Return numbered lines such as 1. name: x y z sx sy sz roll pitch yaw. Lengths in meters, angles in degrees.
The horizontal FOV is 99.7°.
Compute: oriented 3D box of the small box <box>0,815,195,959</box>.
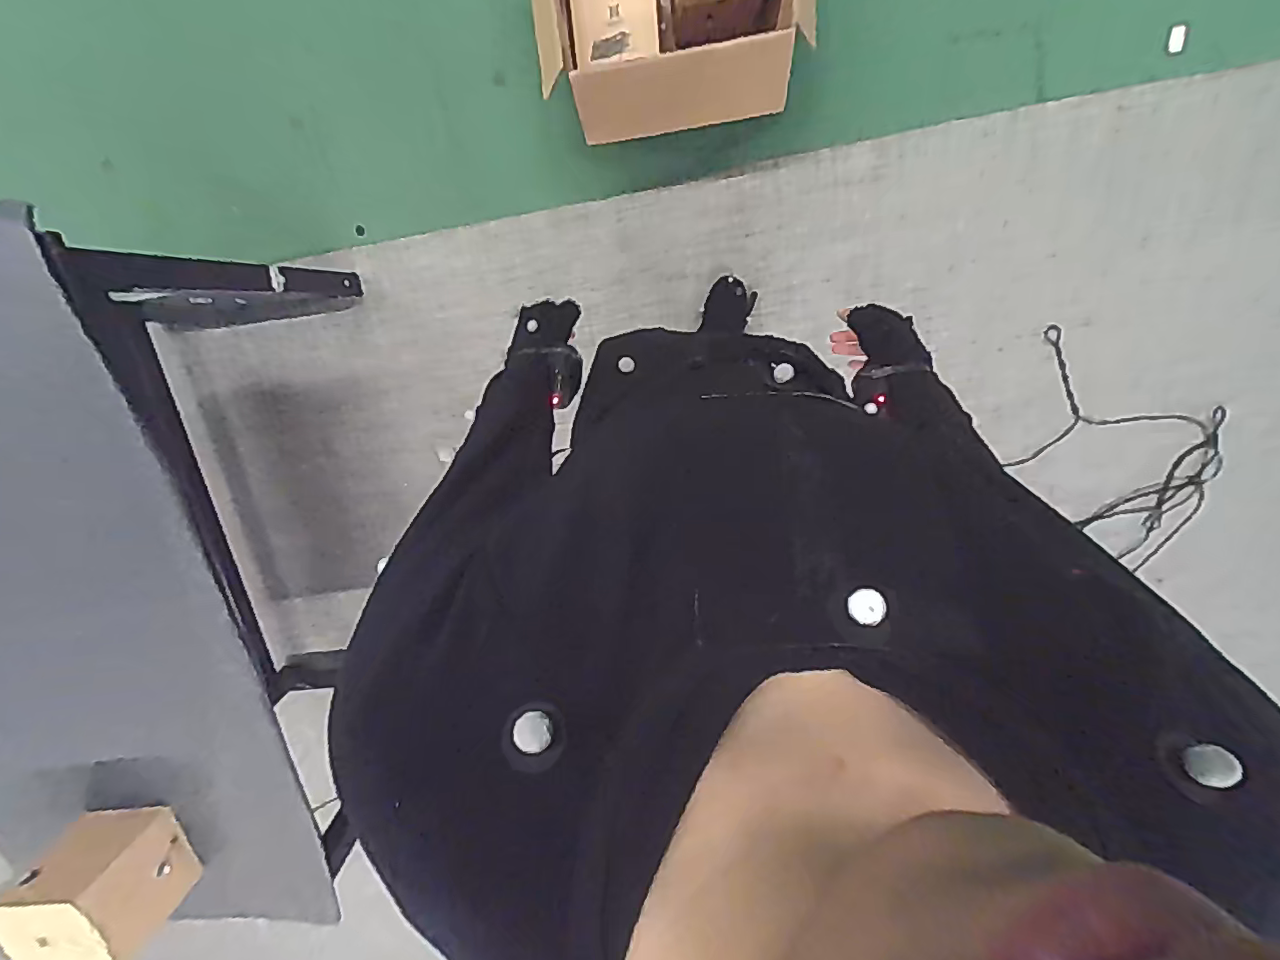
1. small box: -0.912 0.696 0.902 0.179 0.176 0.168 -7 106 5
